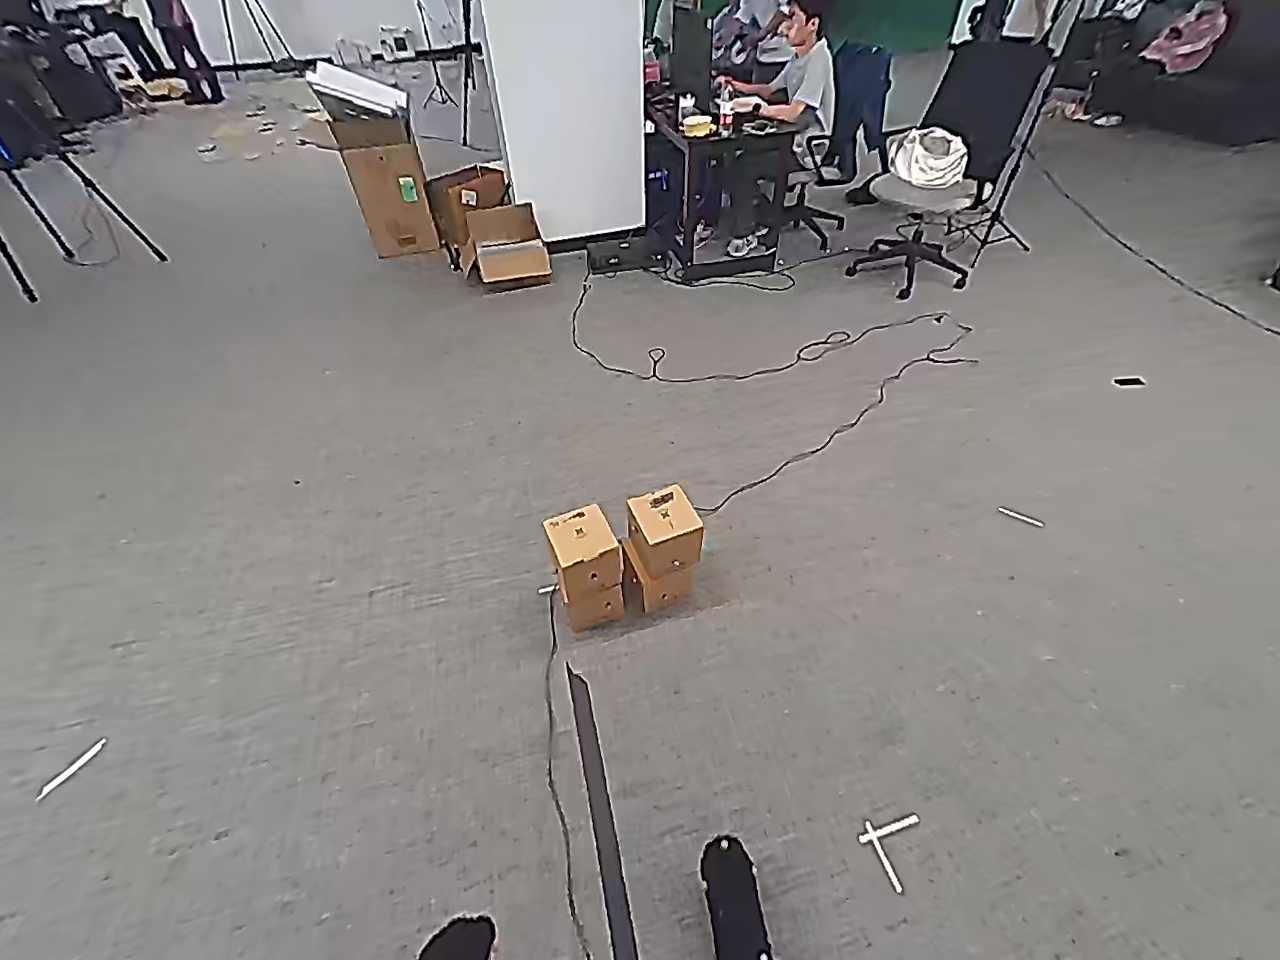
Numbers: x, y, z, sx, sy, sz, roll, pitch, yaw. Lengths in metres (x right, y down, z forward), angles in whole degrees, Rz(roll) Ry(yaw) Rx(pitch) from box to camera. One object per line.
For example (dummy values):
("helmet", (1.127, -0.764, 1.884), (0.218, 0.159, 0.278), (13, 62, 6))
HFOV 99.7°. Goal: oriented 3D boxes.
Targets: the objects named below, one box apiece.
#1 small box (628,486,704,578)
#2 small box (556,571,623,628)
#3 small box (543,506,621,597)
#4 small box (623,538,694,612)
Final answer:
("small box", (0.072, 0.153, 1.575), (0.168, 0.176, 0.179), (-18, 49, -14))
("small box", (-0.154, 0.328, 1.646), (0.168, 0.176, 0.179), (-15, 47, -13))
("small box", (-0.160, 0.209, 1.532), (0.168, 0.176, 0.179), (-18, 49, -15))
("small box", (0.054, 0.277, 1.684), (0.168, 0.176, 0.179), (-19, 48, -15))
